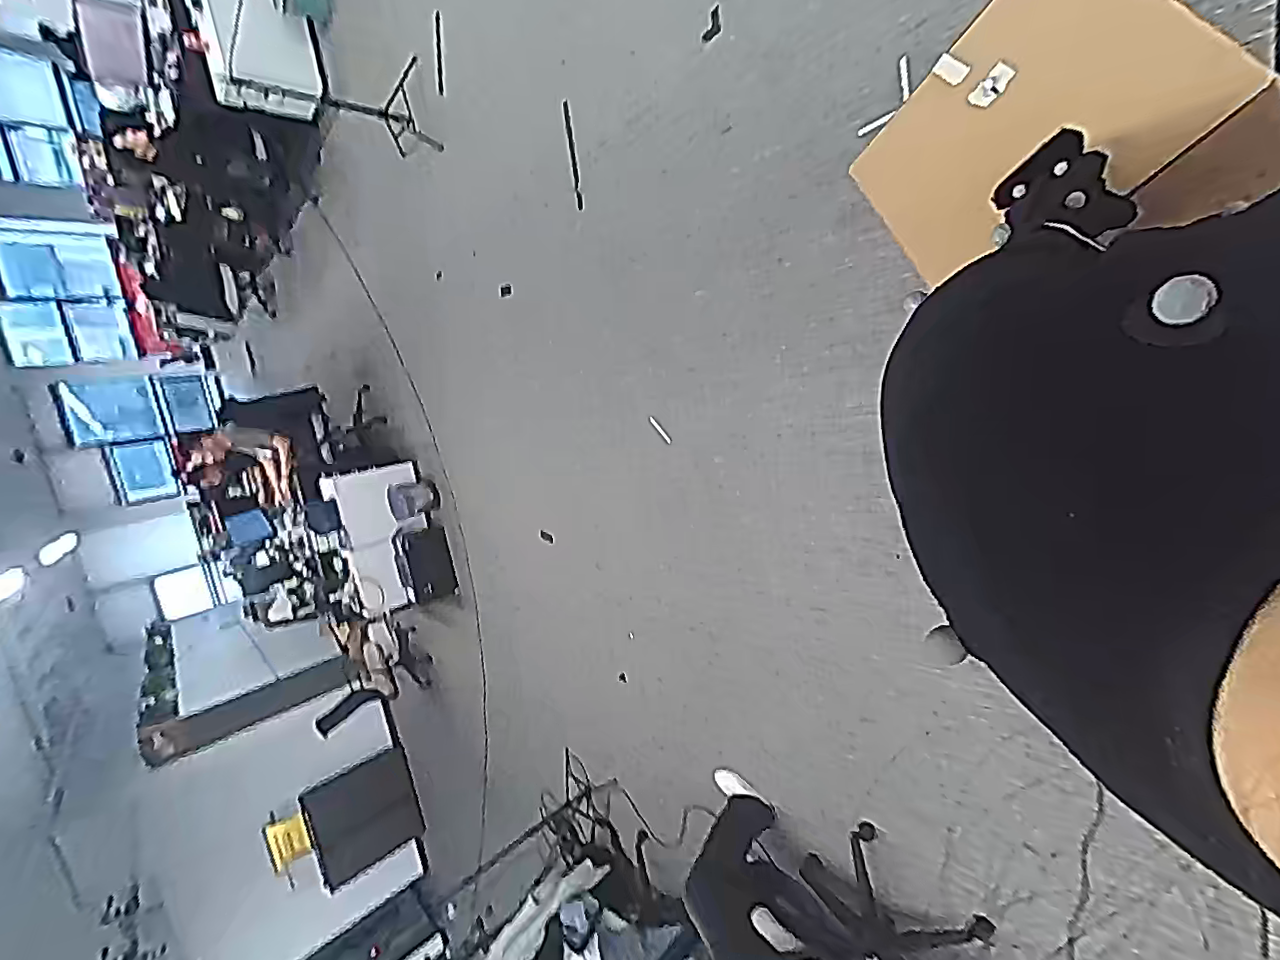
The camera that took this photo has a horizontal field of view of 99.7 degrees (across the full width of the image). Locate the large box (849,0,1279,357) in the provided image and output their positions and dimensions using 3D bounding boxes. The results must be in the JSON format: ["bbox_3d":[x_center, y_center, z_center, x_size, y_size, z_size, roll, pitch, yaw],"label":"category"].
[{"bbox_3d":[0.594,-0.411,0.775,0.320,0.408,0.320,-45,56,46],"label":"large box"}]
